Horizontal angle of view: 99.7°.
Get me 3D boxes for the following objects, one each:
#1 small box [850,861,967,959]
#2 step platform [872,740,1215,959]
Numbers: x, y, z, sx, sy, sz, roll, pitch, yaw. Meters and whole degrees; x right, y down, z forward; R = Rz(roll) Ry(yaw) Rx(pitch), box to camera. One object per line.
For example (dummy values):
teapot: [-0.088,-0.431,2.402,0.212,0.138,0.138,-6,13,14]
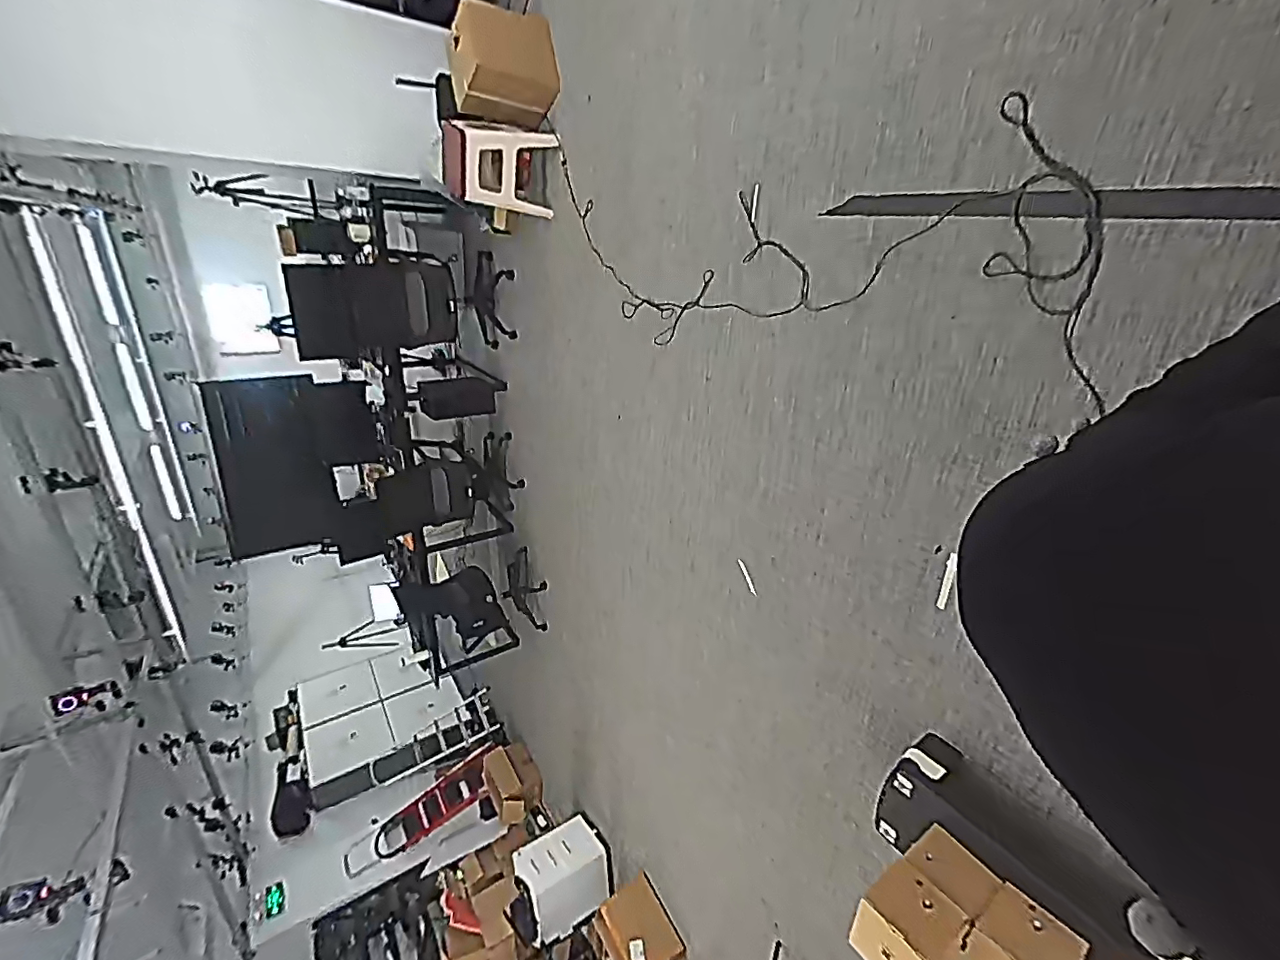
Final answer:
small box: [0.618,1.041,1.246,0.168,0.176,0.179,30,124,50]
step platform: [0.942,1.020,1.368,0.684,0.204,0.286,31,126,48]
